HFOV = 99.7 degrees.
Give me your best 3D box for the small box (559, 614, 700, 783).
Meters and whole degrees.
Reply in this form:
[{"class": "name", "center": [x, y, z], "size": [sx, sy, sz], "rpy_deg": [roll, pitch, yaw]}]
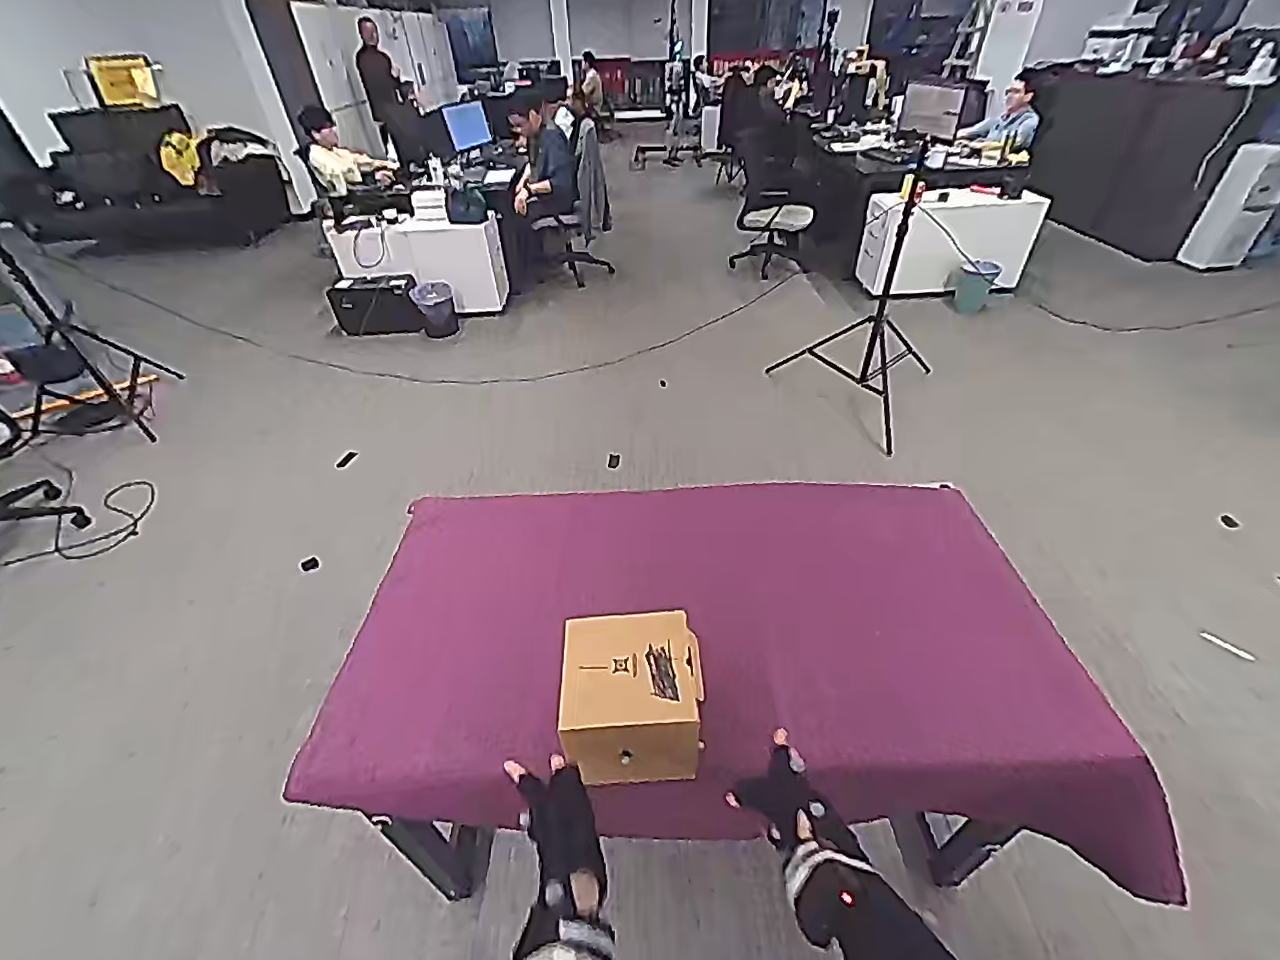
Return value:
[{"class": "small box", "center": [-0.012, 0.312, 0.773], "size": [0.179, 0.176, 0.168], "rpy_deg": [-4, 39, 0]}]
